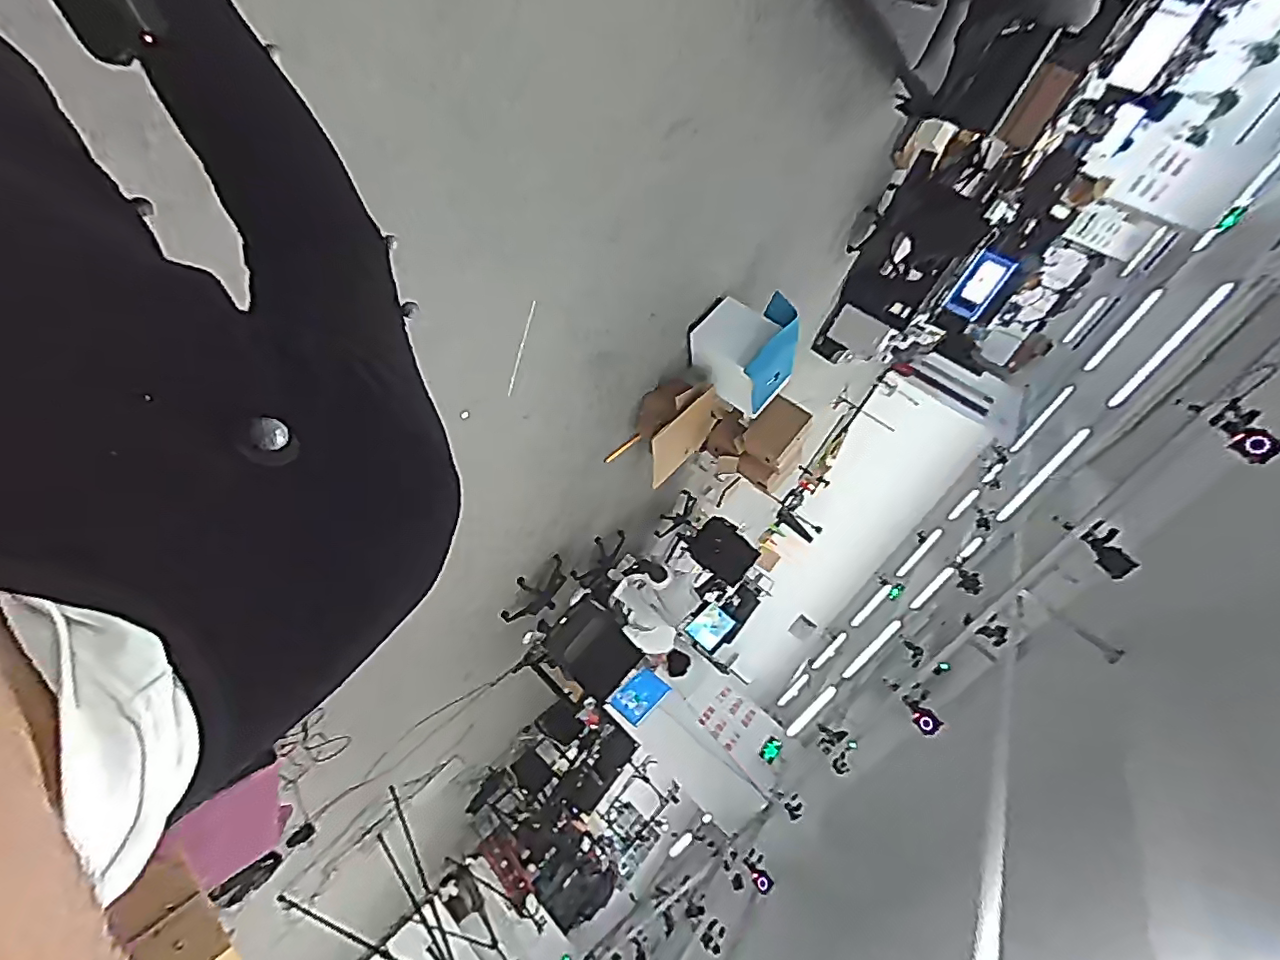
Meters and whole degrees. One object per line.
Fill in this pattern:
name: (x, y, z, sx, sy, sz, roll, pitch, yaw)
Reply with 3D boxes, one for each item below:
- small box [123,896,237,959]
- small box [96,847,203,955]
small box: (-1.154, 1.204, 1.361, 0.168, 0.176, 0.179, -27, 149, -47)
small box: (-1.281, 1.119, 1.427, 0.168, 0.176, 0.179, -30, 152, -47)
